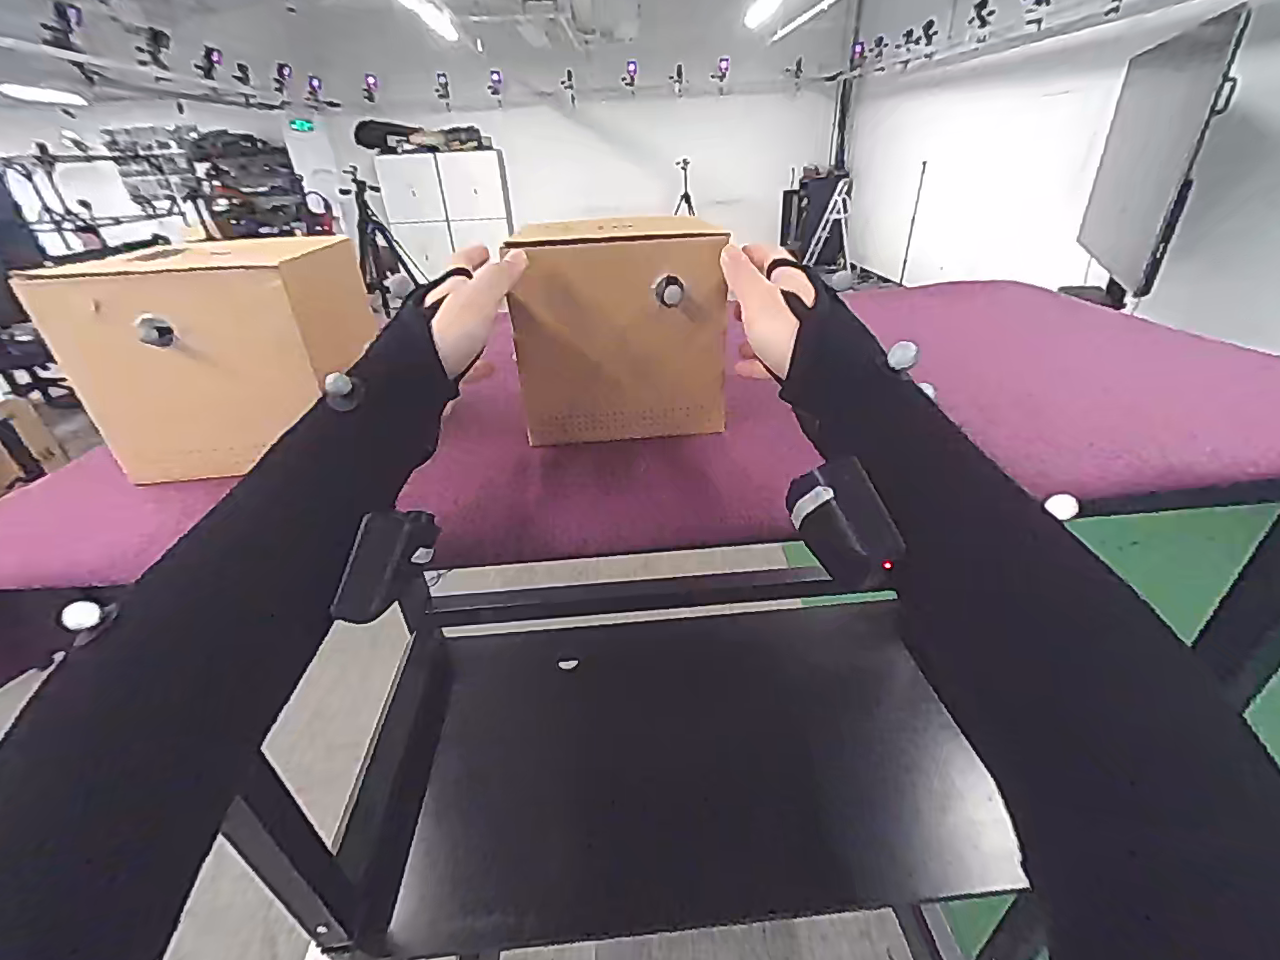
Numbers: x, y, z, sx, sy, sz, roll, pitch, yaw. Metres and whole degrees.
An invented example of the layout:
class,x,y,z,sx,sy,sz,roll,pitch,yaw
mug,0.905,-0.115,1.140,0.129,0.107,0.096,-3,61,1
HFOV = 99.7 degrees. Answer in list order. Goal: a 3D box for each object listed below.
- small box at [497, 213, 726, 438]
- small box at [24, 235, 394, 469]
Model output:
class,x,y,z,sx,sy,sz,roll,pitch,yaw
small box,-0.022,-0.150,0.514,0.179,0.176,0.168,-4,29,-1
small box,-0.351,-0.119,0.490,0.179,0.176,0.168,-5,30,-5
